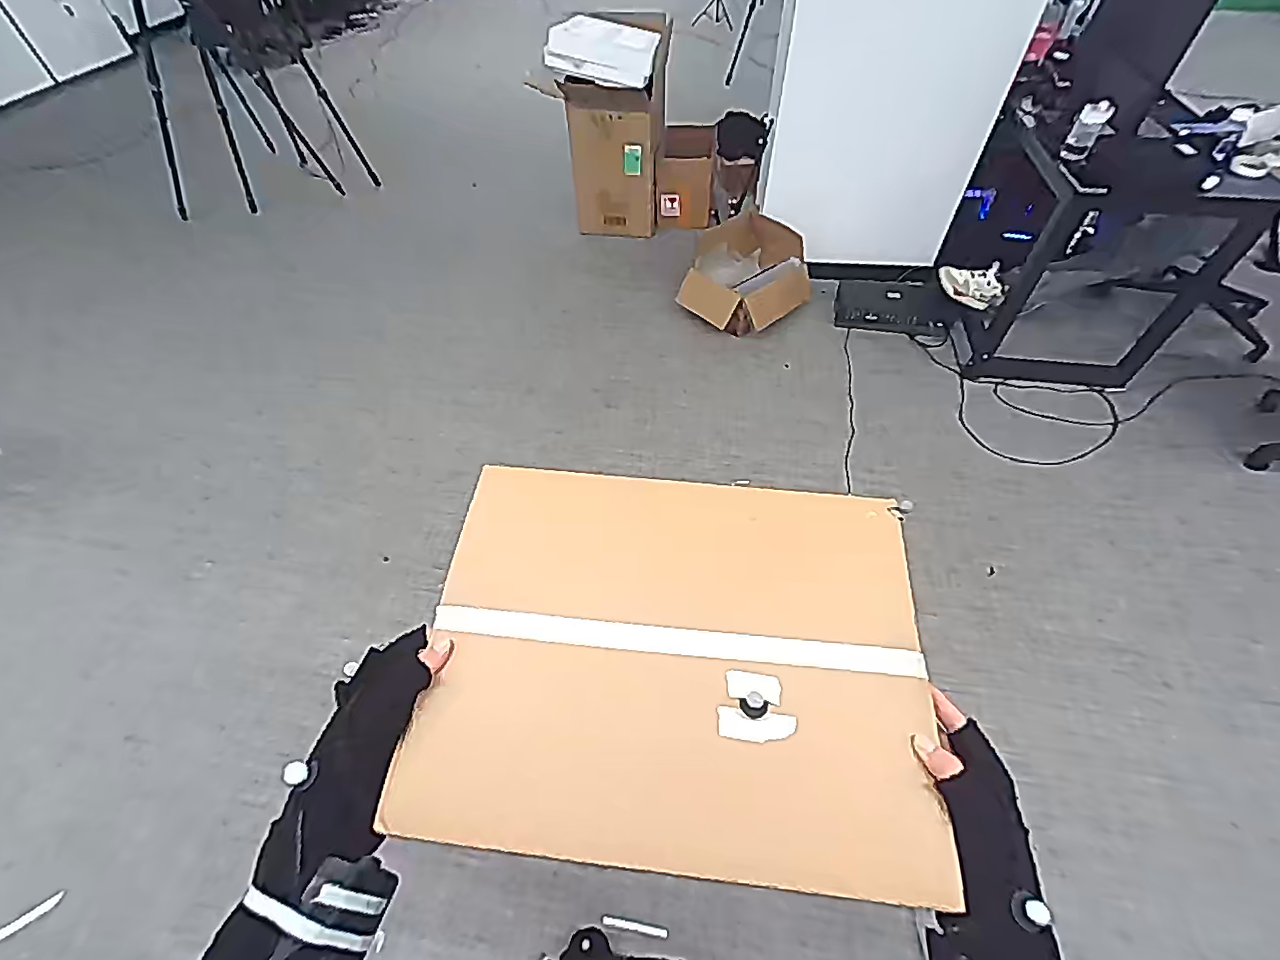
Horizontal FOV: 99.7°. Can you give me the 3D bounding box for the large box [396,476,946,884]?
[{"bbox_3d":[0.030,0.218,0.589,0.408,0.320,0.320,5,58,4],"label":"large box"}]
